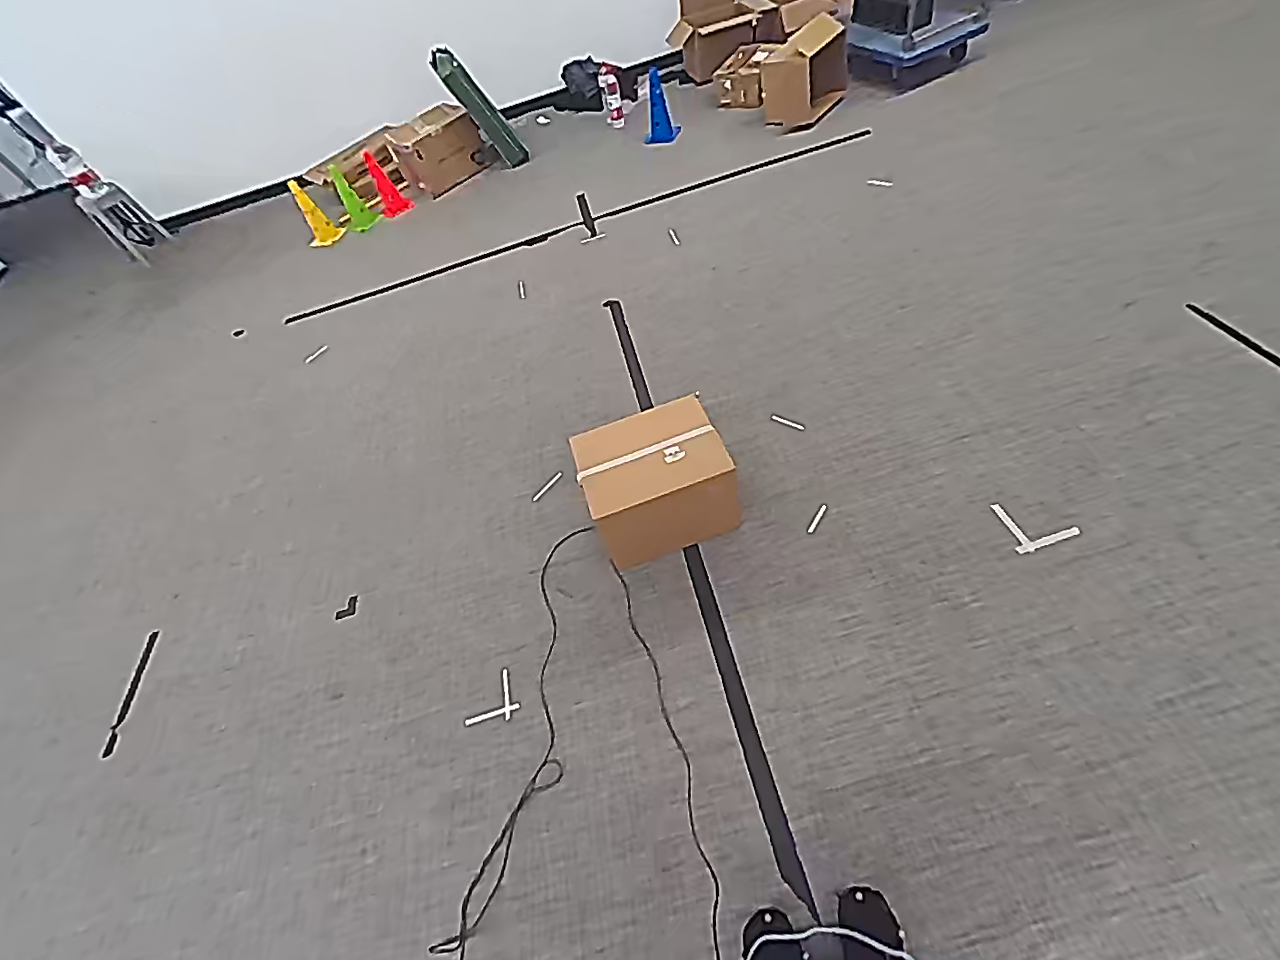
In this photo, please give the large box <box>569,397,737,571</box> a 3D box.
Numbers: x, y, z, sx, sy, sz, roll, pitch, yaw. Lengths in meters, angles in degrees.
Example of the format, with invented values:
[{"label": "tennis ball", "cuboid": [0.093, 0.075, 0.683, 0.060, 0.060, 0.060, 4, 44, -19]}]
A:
[{"label": "large box", "cuboid": [0.045, 0.018, 1.629, 0.408, 0.320, 0.320, -20, 53, -2]}]
